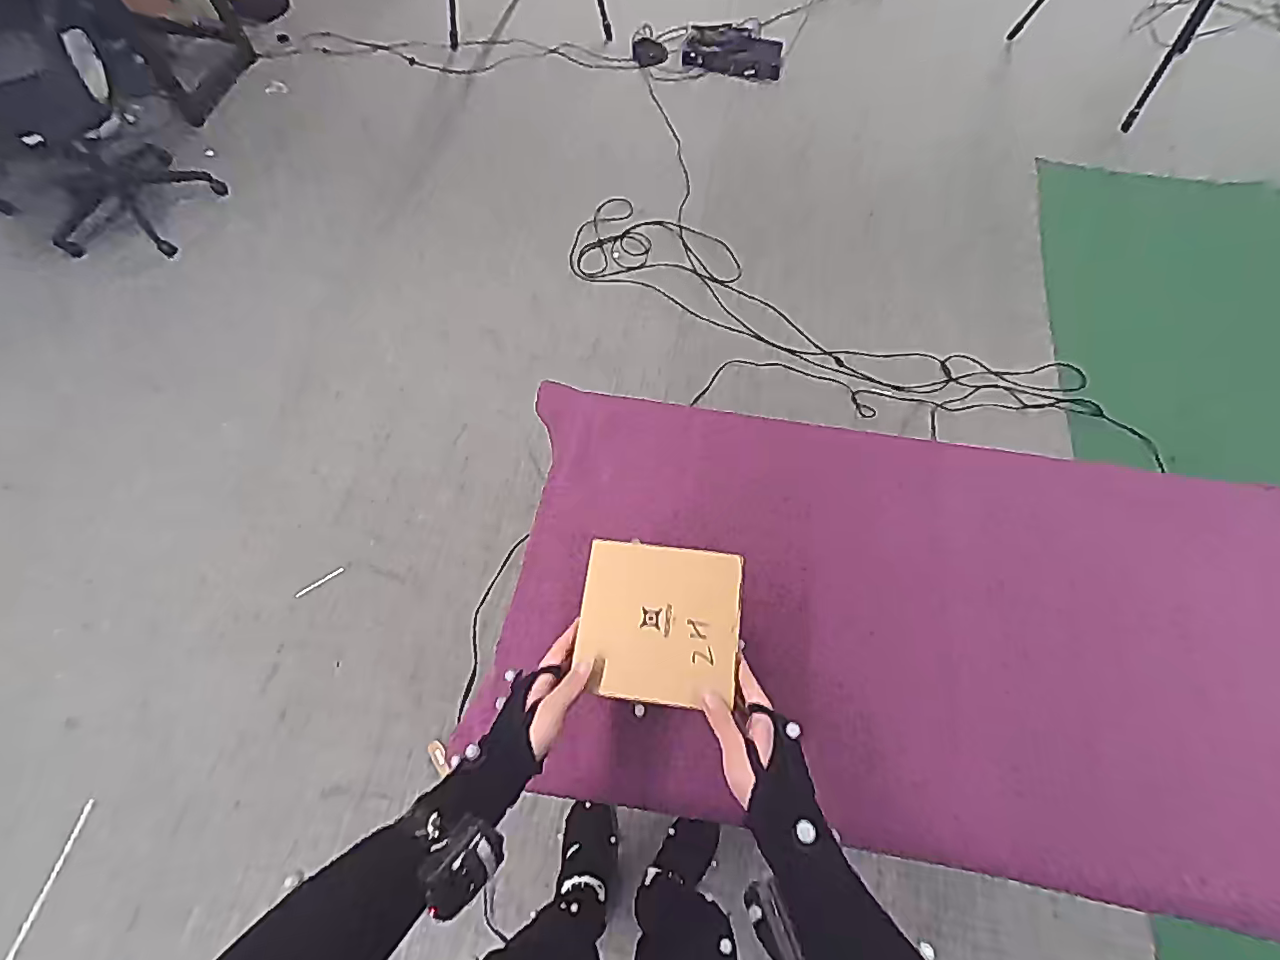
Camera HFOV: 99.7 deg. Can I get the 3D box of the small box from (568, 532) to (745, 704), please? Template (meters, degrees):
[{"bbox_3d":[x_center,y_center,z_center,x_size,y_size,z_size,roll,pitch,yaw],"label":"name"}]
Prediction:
[{"bbox_3d":[0.027,0.174,0.658,0.179,0.176,0.168,6,68,7],"label":"small box"}]
